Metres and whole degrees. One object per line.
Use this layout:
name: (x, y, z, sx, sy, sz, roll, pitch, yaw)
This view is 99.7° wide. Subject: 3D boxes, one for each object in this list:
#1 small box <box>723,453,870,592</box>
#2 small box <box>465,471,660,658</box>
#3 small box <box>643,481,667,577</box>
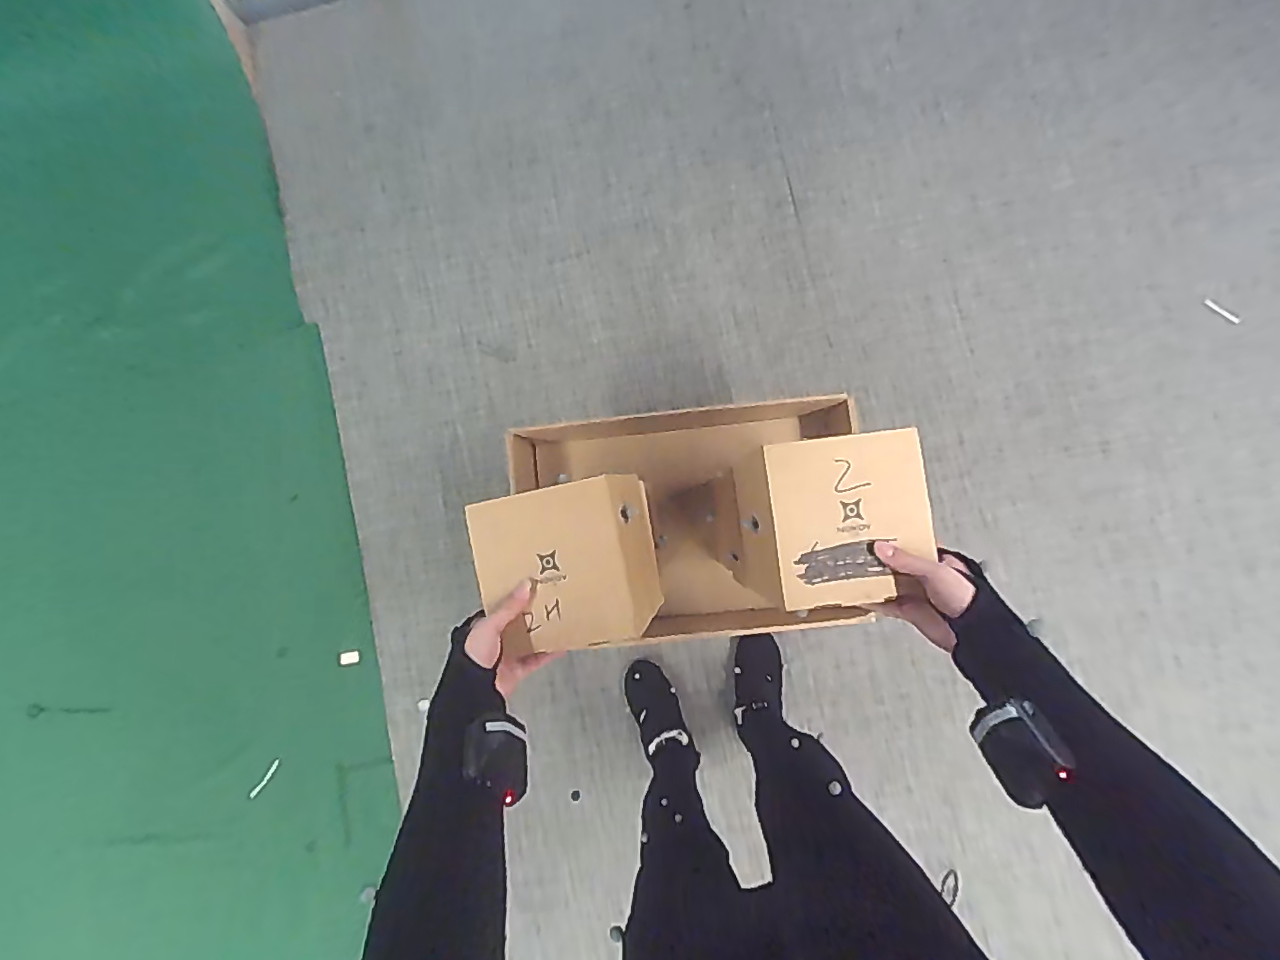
small box: (0.221, 0.063, 0.805, 0.168, 0.176, 0.179, -6, 84, 2)
small box: (-0.081, 0.090, 0.642, 0.168, 0.176, 0.179, -12, 88, 11)
small box: (-0.049, 0.099, 0.982, 0.179, 0.176, 0.168, -9, 85, 3)
